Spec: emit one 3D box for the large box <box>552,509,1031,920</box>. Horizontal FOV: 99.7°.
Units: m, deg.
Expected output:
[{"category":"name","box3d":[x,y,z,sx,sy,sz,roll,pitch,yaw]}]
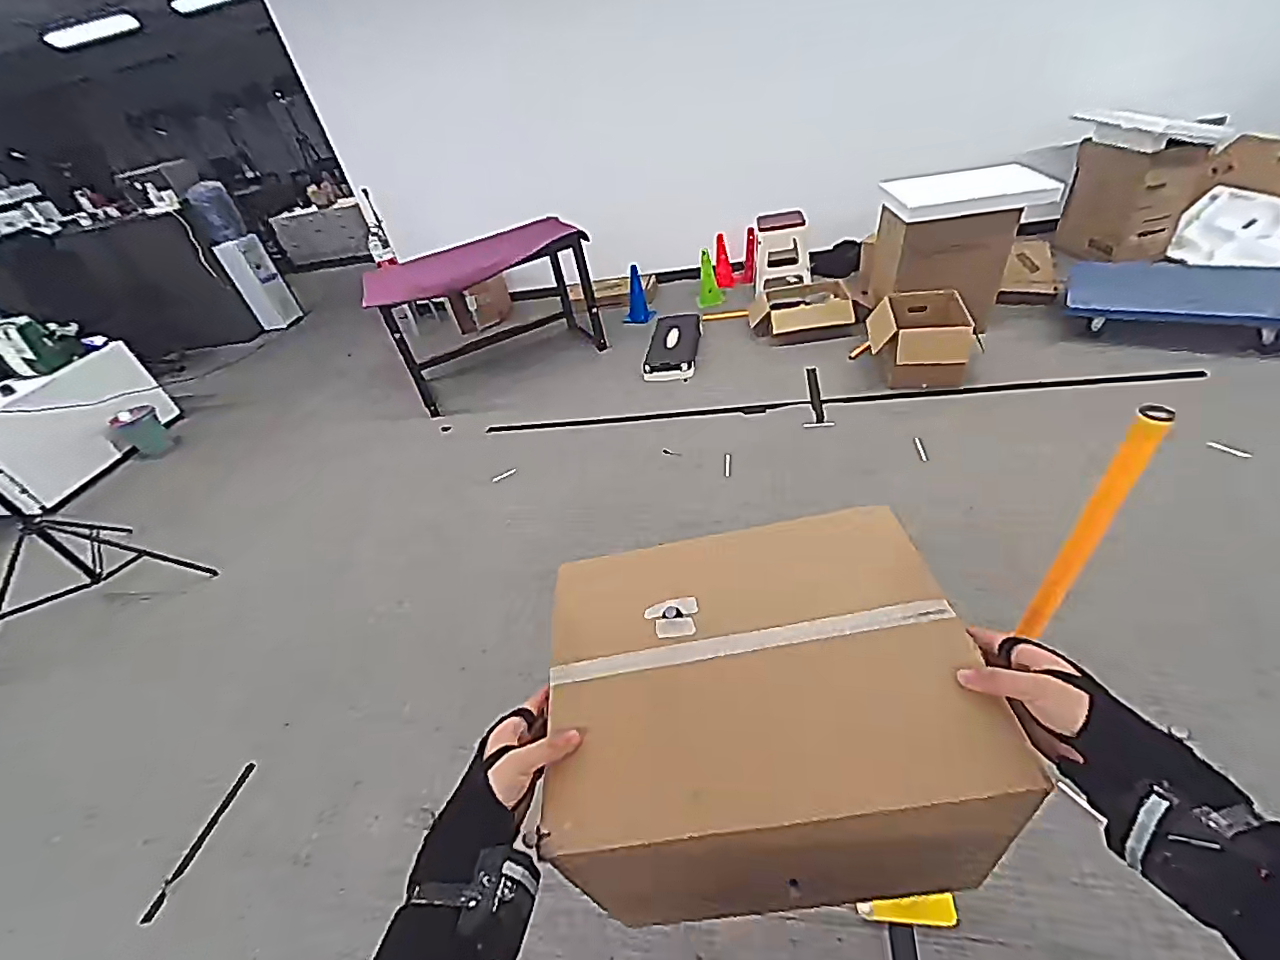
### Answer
[{"category":"large box","box3d":[0.141,0.284,0.648,0.408,0.320,0.320,-13,40,6]}]
